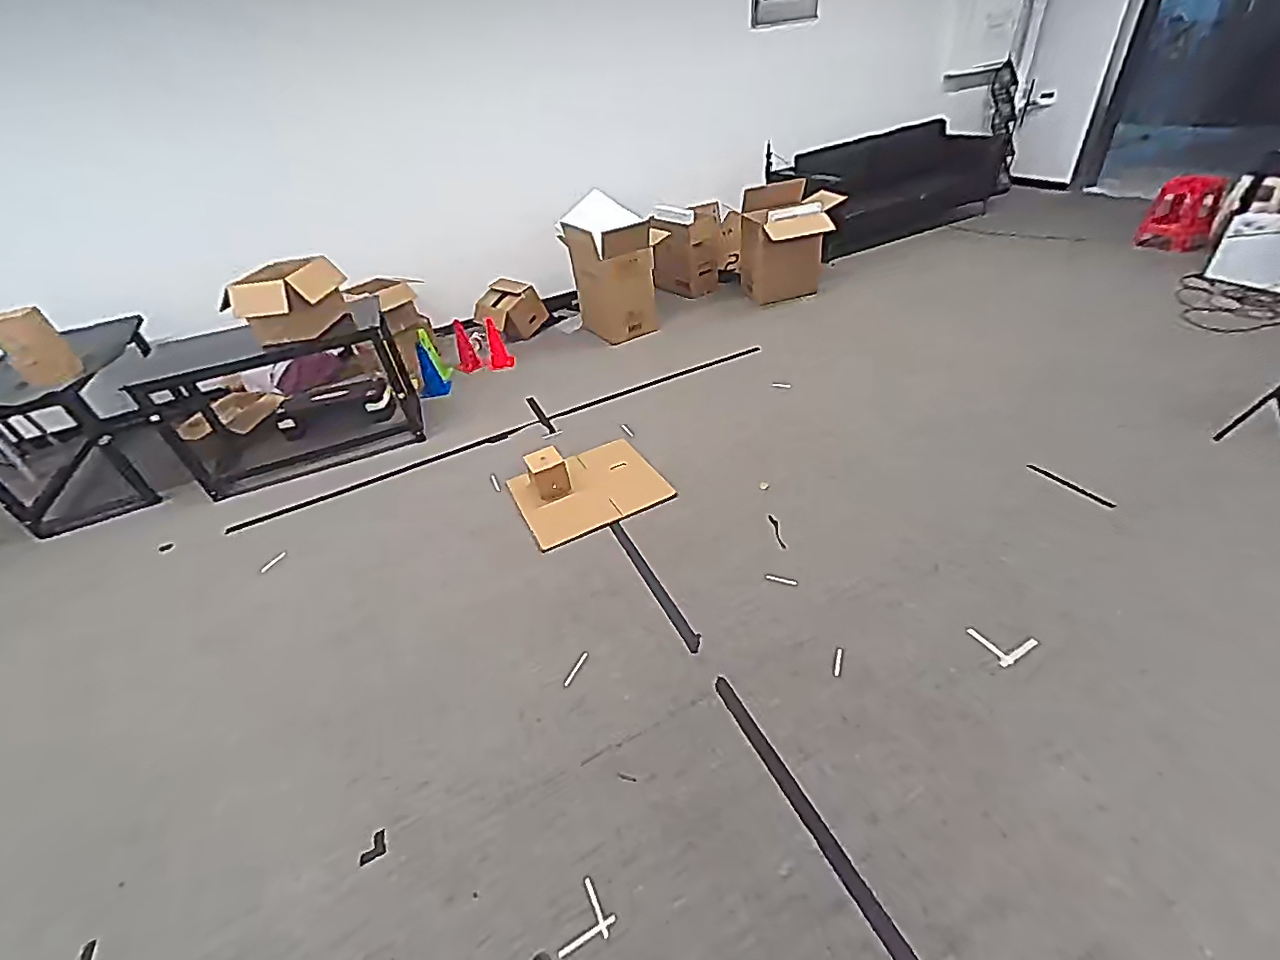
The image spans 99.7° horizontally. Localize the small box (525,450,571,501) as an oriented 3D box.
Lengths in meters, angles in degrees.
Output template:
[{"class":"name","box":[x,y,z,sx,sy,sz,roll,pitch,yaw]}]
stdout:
[{"class":"small box","box":[-0.461,-0.022,2.718,0.168,0.176,0.179,-23,40,-17]}]
